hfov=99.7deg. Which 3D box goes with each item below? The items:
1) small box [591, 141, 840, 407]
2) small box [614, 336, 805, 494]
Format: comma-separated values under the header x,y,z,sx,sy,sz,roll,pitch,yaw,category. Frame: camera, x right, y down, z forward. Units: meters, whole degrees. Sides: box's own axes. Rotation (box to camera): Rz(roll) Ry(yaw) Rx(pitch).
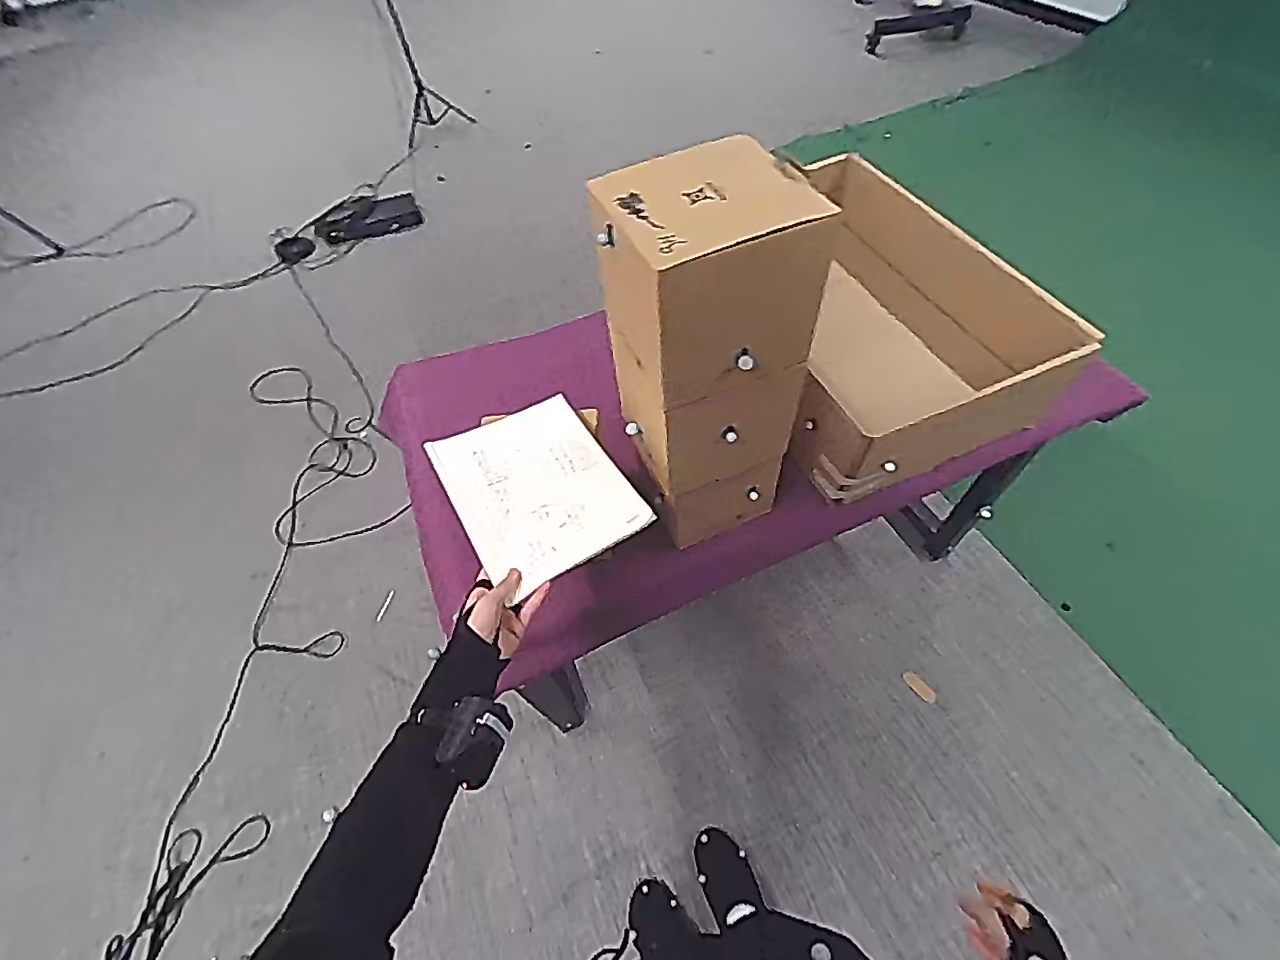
x,y,z,sx,sy,sz,roll,pitch,yaw,category
0.065,-0.205,0.550,0.179,0.176,0.168,-21,55,-10,small box
0.078,-0.111,0.685,0.179,0.176,0.168,-21,55,-9,small box
